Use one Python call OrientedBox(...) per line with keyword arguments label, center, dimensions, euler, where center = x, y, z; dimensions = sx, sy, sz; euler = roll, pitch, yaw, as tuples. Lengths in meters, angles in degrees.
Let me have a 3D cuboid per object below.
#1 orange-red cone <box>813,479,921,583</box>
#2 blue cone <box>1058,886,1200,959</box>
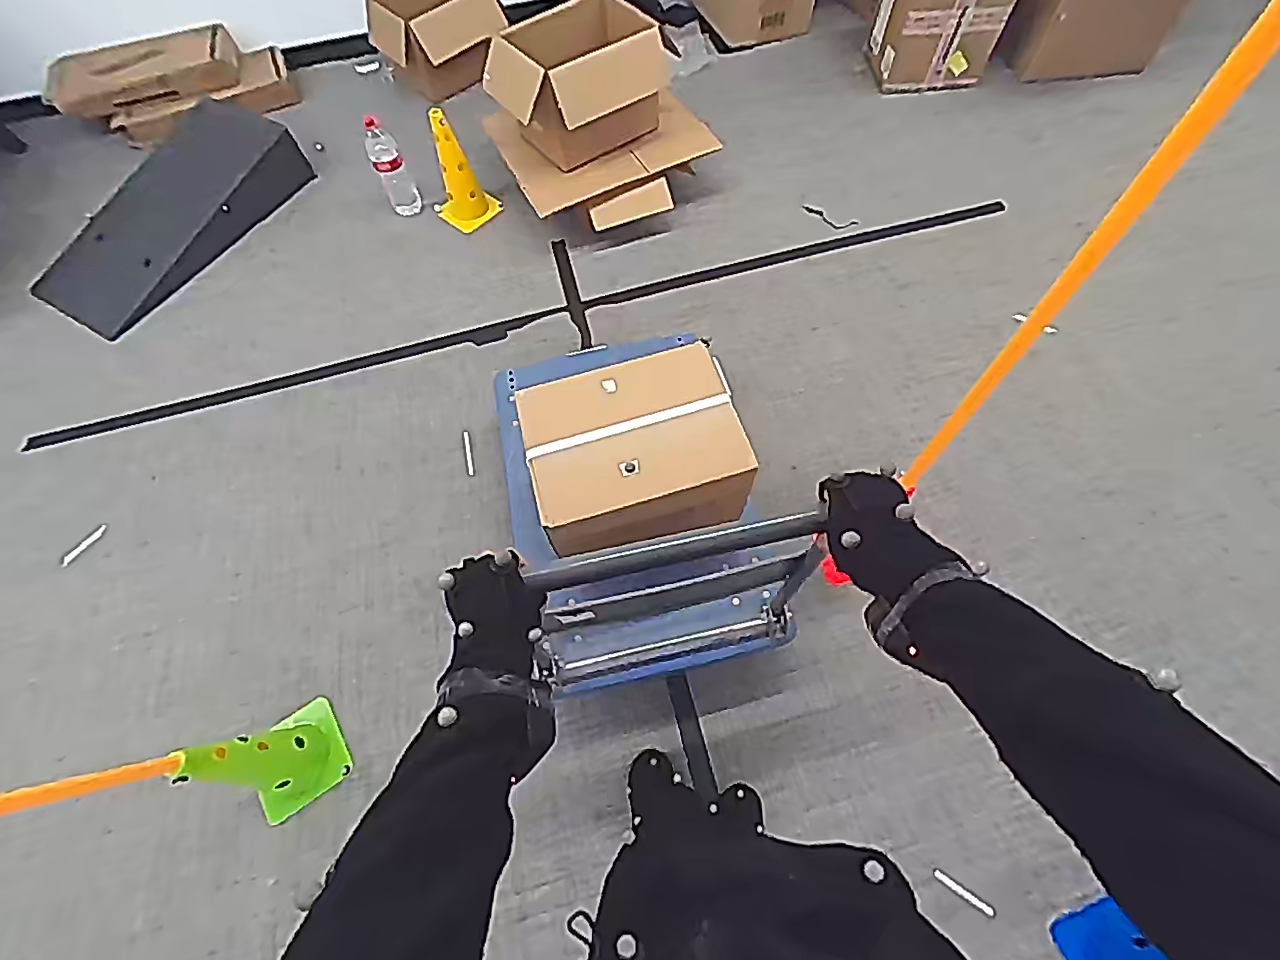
OrientedBox(label="orange-red cone", center=(0.561, 0.090, 1.256), dimensions=(0.199, 0.360, 0.198), euler=(-8, 64, -2))
OrientedBox(label="blue cone", center=(0.918, 0.840, 0.883), dimensions=(0.193, 0.380, 0.192), euler=(-18, 63, -6))
